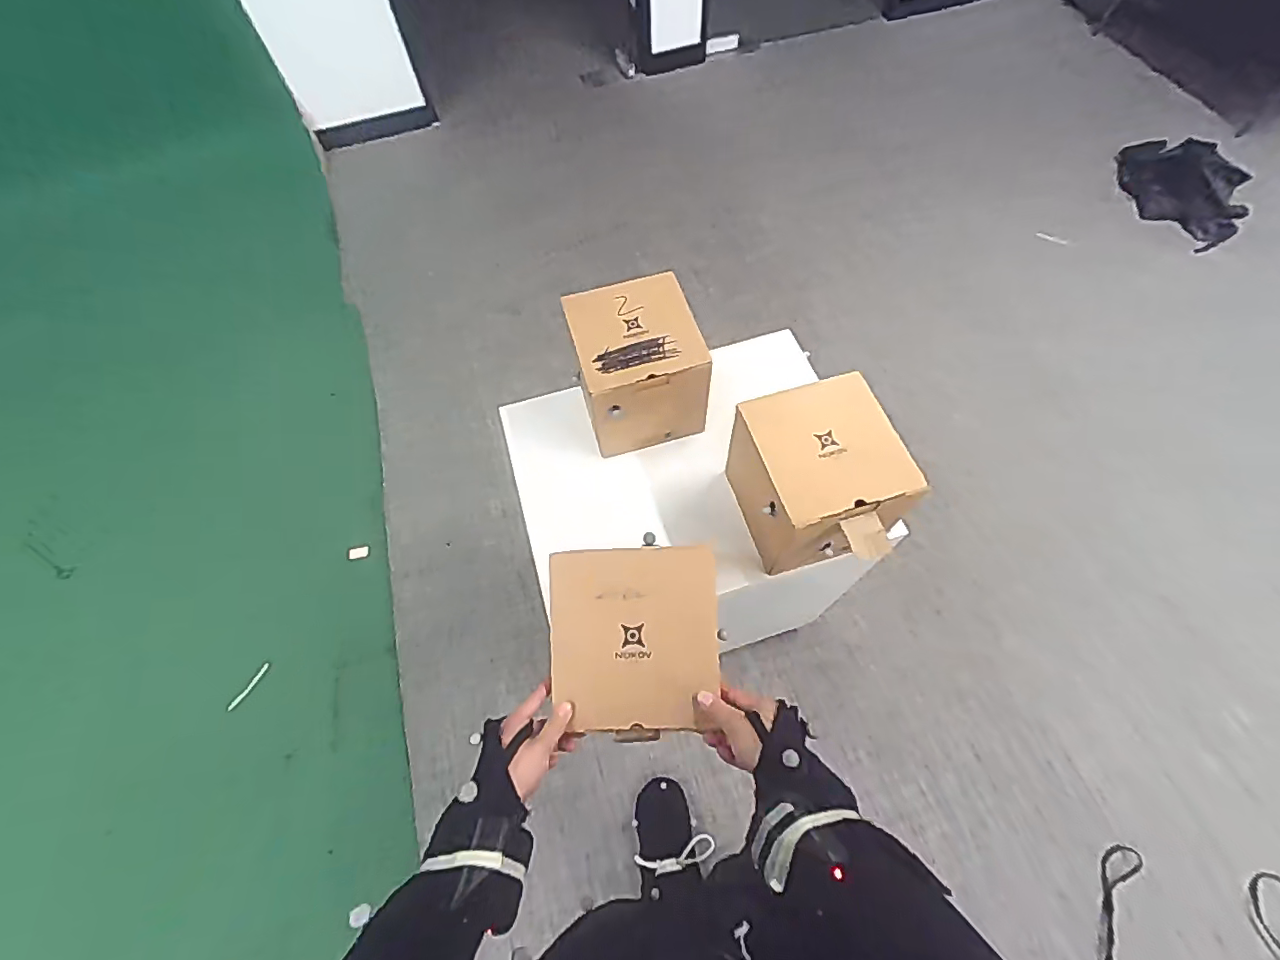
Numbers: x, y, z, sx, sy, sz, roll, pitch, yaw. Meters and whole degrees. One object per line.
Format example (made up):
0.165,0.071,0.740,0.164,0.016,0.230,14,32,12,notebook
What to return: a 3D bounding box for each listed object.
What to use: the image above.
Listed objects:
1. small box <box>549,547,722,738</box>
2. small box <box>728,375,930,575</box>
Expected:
0.000,0.167,0.602,0.168,0.176,0.179,-4,83,4,small box
0.223,-0.002,0.699,0.168,0.176,0.179,-16,62,-6,small box
